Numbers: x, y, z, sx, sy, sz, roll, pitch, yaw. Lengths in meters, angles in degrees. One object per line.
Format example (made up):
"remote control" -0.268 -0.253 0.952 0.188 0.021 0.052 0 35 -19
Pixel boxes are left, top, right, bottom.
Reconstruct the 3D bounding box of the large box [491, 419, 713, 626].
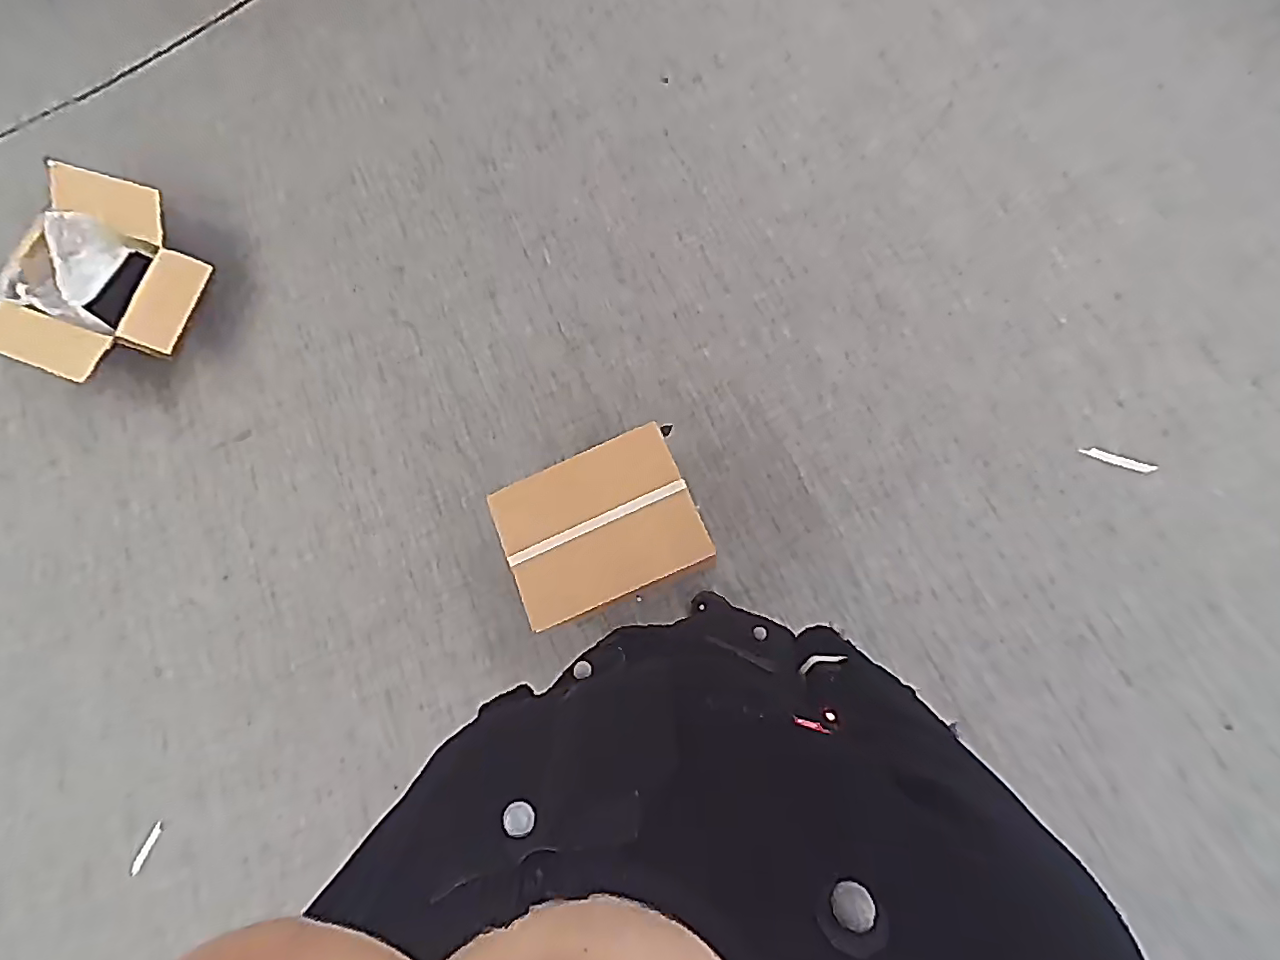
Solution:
"large box" -0.071 0.116 1.278 0.408 0.320 0.320 -24 77 2
